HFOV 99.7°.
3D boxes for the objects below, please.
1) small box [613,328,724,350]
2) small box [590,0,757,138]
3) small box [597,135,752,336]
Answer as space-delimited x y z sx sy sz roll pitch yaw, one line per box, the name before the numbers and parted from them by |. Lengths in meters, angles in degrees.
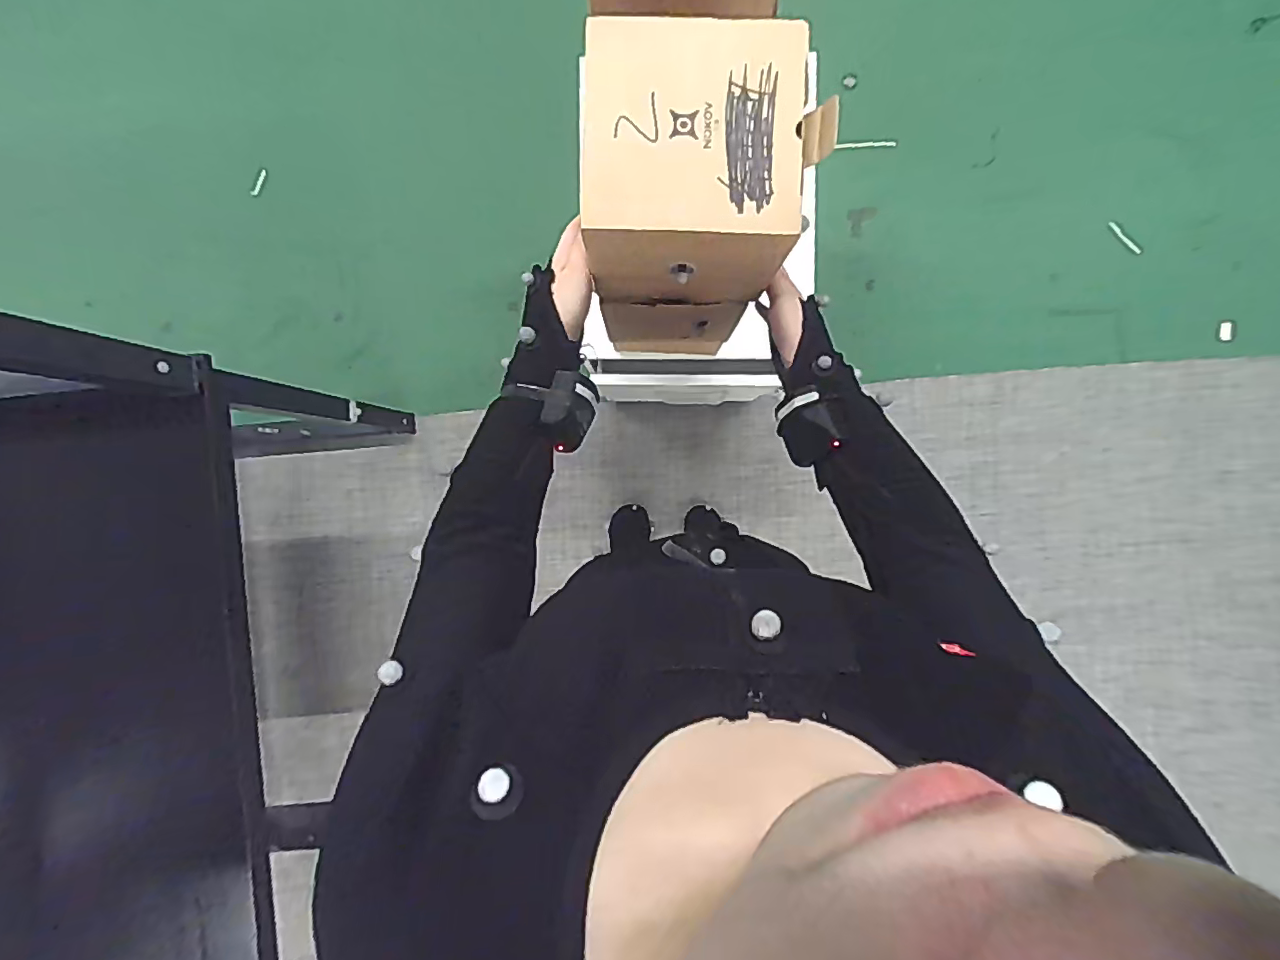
small box | 0.047 -0.297 0.813 0.179 0.176 0.168 3 91 1
small box | 0.039 -0.527 0.646 0.179 0.176 0.168 3 91 0
small box | 0.038 -0.277 0.651 0.168 0.176 0.179 -1 90 0
